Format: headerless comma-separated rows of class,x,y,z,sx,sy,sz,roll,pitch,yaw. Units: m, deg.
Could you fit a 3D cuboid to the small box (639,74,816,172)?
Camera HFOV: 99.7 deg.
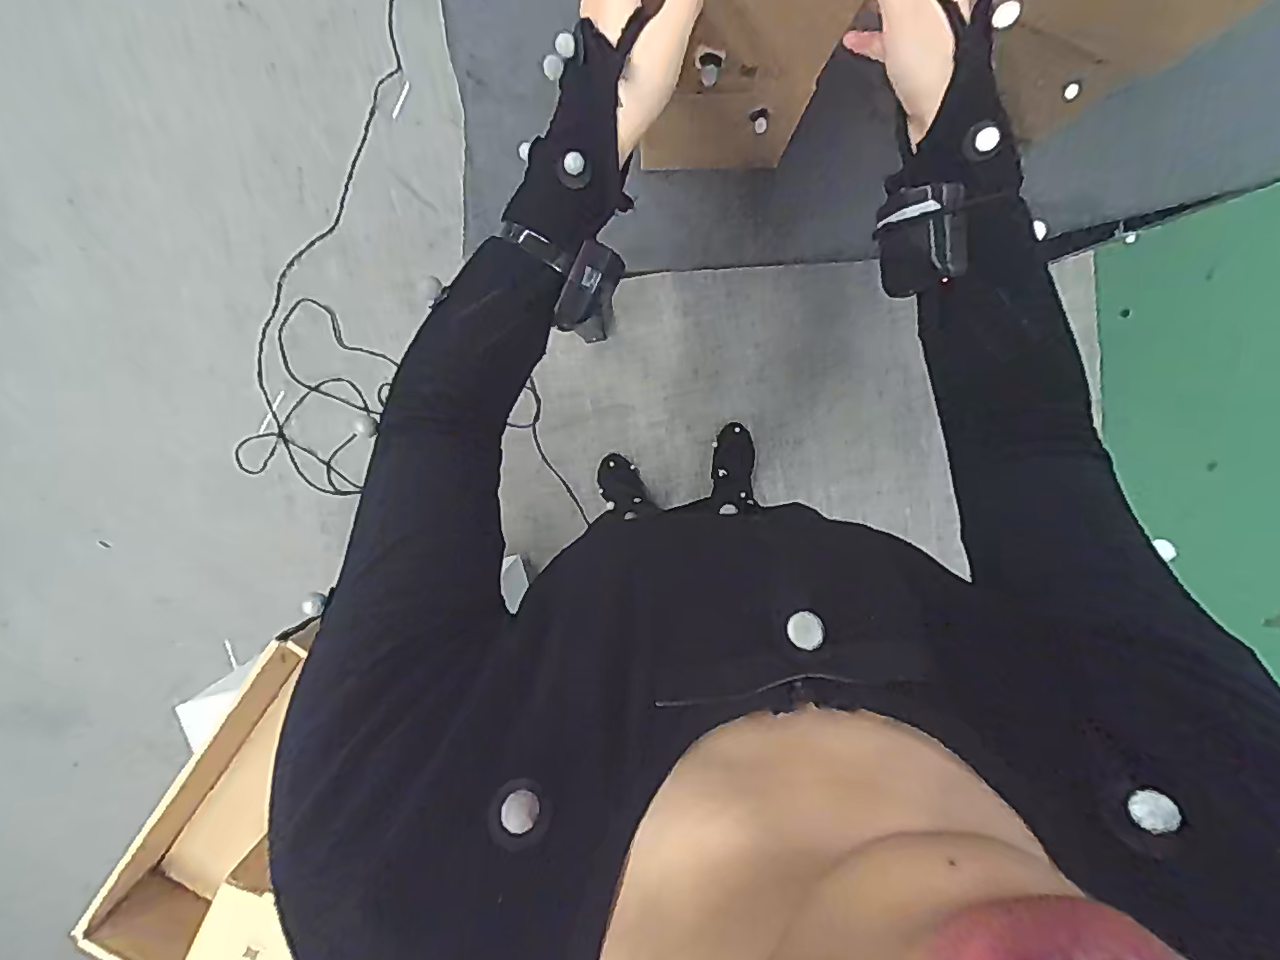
small box,0.088,-0.466,0.602,0.179,0.176,0.168,0,96,2

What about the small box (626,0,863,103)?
small box,0.079,-0.424,0.399,0.168,0.176,0.179,6,100,-2
